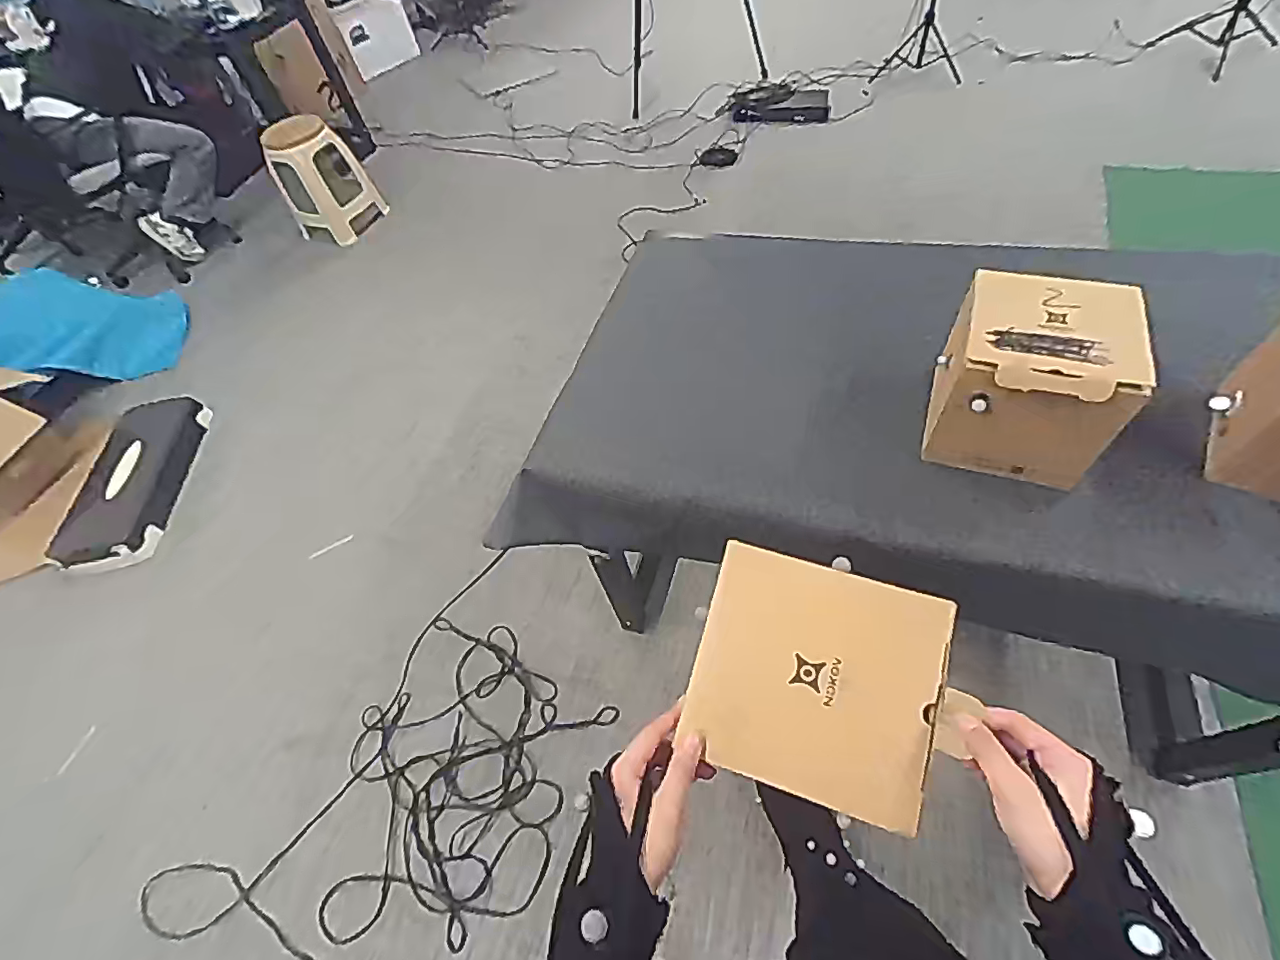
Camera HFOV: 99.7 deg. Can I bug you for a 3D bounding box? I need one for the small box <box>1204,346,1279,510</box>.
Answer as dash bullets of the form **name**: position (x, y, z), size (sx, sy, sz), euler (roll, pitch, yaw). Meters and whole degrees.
- **small box**: position (0.767, -0.062, 0.570), size (0.179, 0.176, 0.168), euler (23, 60, 25)
